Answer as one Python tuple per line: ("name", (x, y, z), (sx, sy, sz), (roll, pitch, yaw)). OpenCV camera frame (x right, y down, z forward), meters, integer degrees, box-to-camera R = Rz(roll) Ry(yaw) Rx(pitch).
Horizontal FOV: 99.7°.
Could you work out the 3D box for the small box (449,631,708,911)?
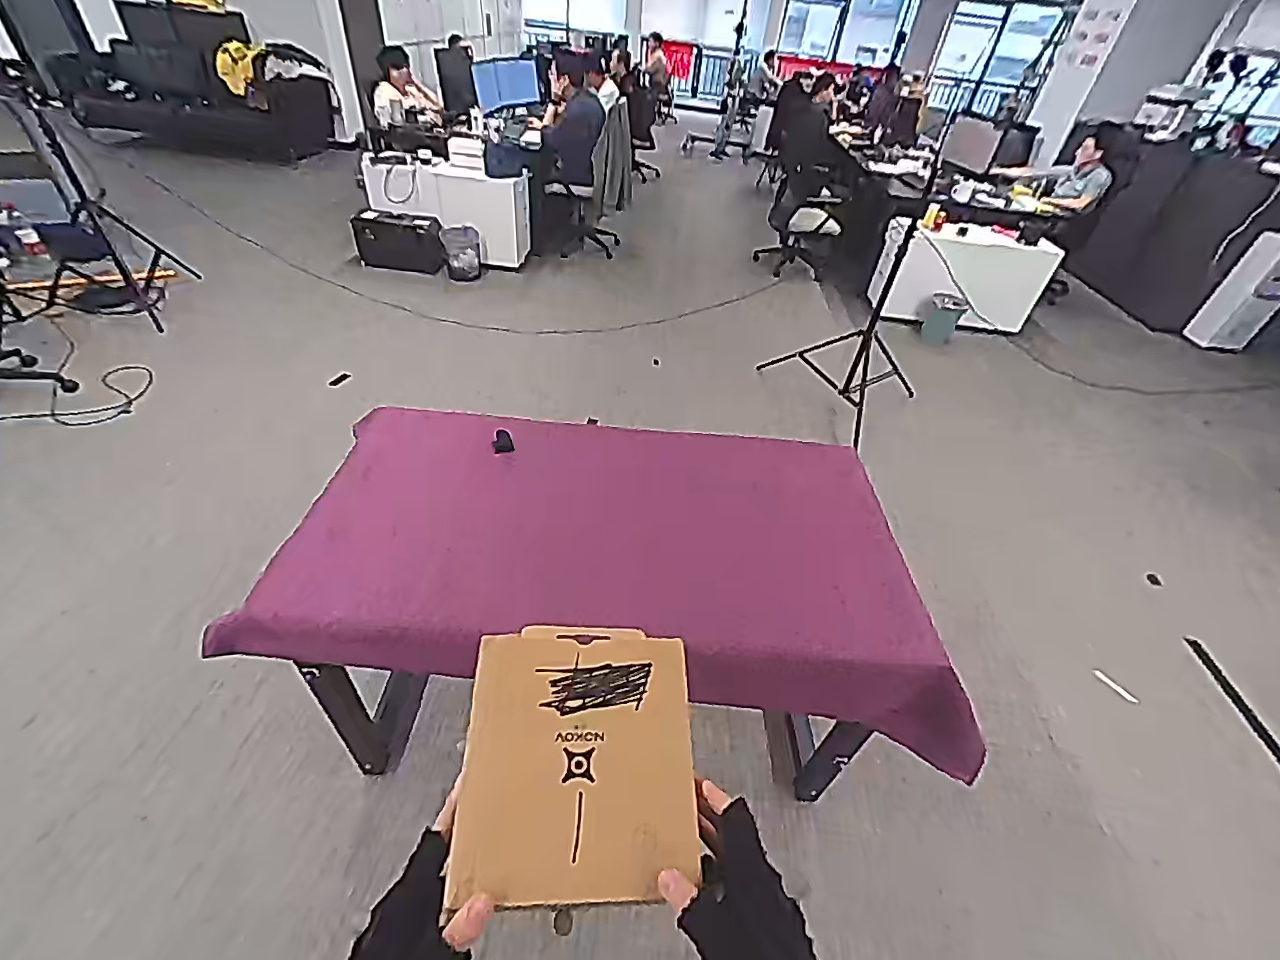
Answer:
("small box", (-0.049, 0.244, 0.450), (0.168, 0.176, 0.179), (3, 51, -6))
